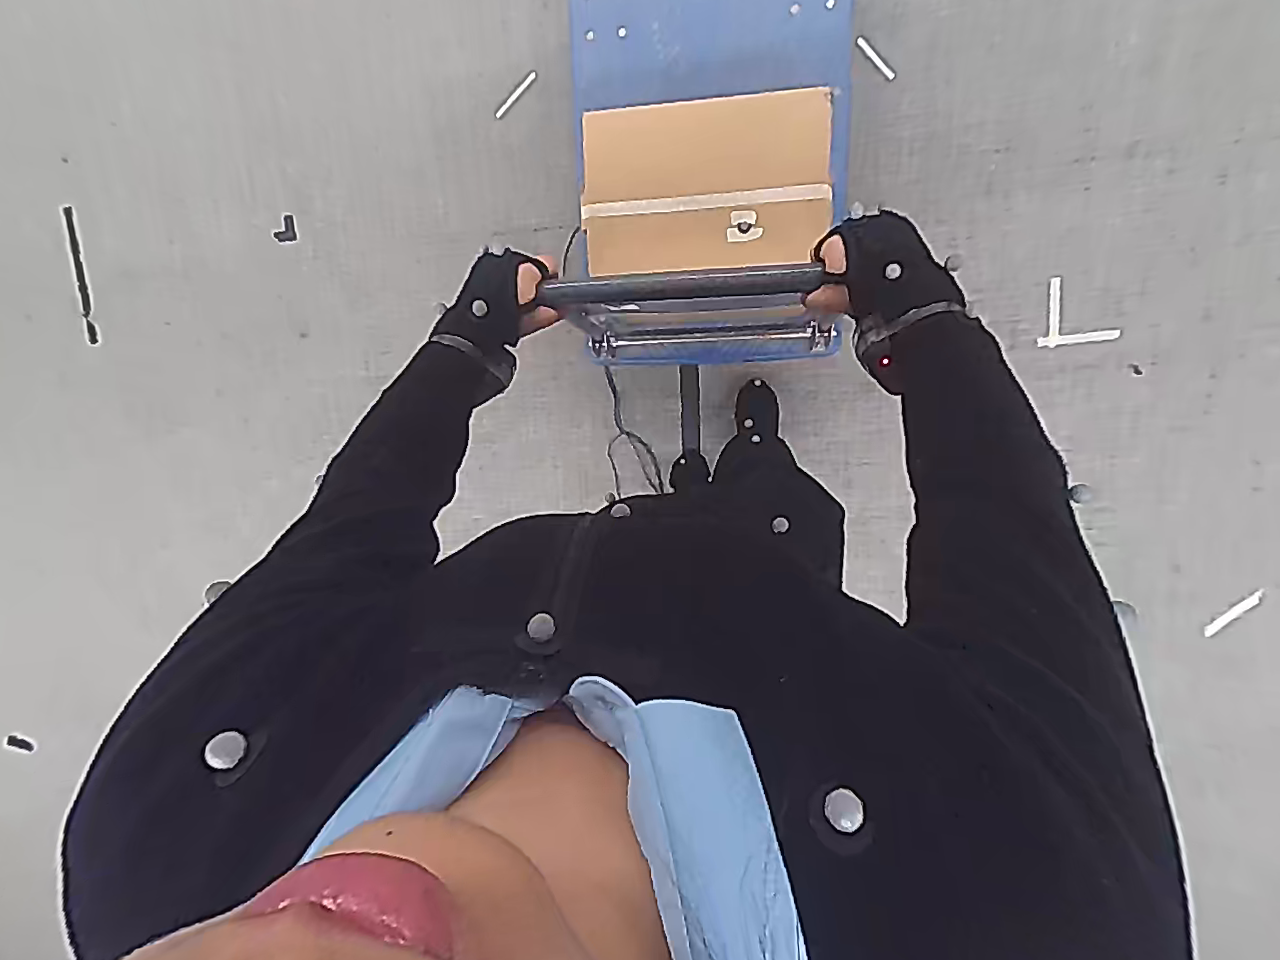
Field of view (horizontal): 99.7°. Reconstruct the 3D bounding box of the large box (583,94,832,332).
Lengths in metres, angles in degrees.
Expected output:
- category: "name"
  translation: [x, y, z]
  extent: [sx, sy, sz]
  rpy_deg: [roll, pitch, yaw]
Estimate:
- category: "large box"
  translation: [0.126, -0.469, 1.037]
  extent: [0.408, 0.320, 0.320]
  rpy_deg: [-1, 100, 8]
